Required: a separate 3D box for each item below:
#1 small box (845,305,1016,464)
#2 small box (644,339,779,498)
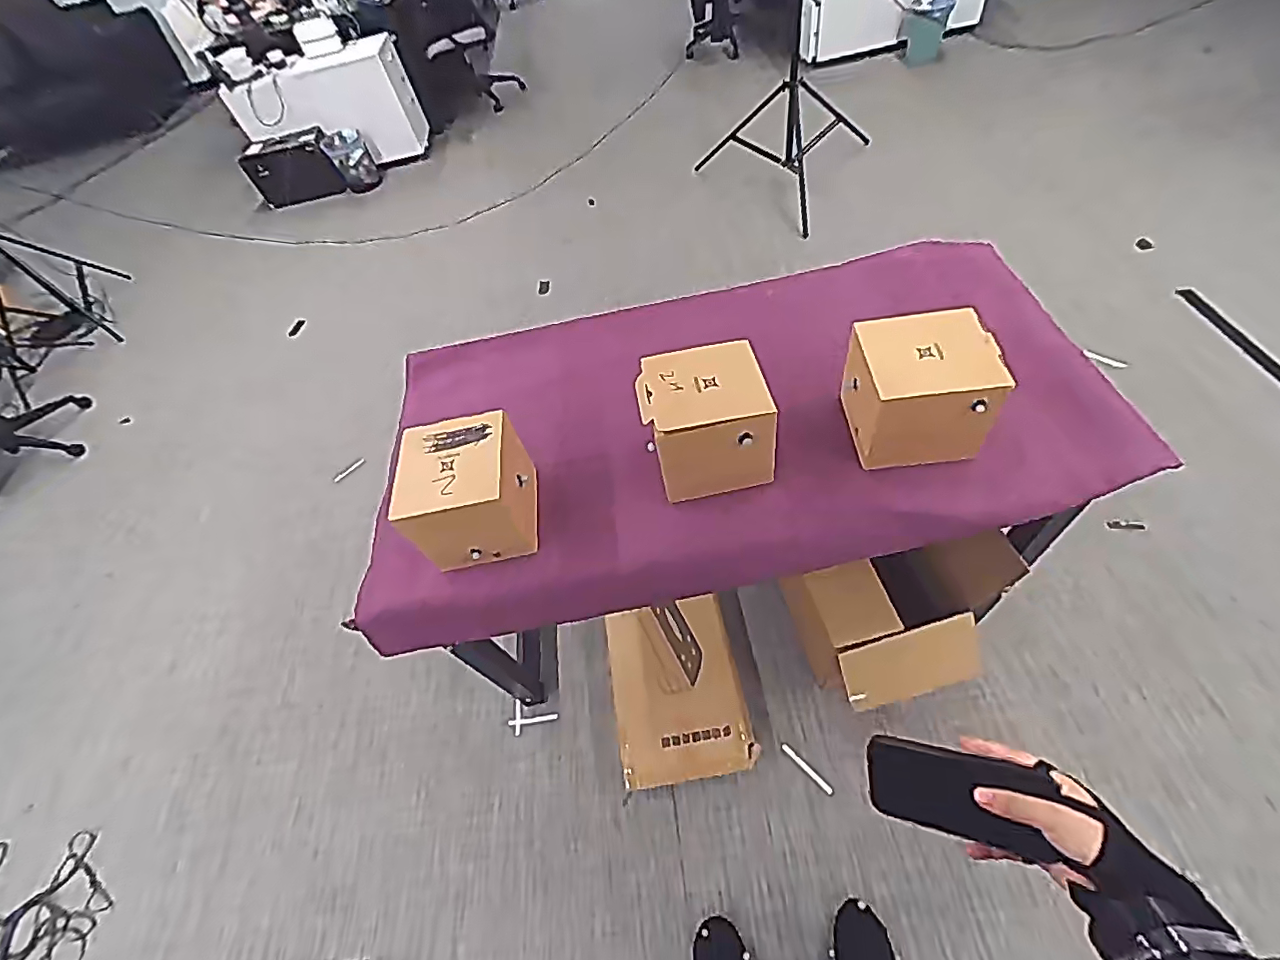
[{"bbox_3d":[0.425,-0.139,0.833,0.179,0.176,0.168,-6,54,7],"label":"small box"},{"bbox_3d":[0.111,-0.094,0.863,0.179,0.176,0.168,-12,51,3],"label":"small box"}]
